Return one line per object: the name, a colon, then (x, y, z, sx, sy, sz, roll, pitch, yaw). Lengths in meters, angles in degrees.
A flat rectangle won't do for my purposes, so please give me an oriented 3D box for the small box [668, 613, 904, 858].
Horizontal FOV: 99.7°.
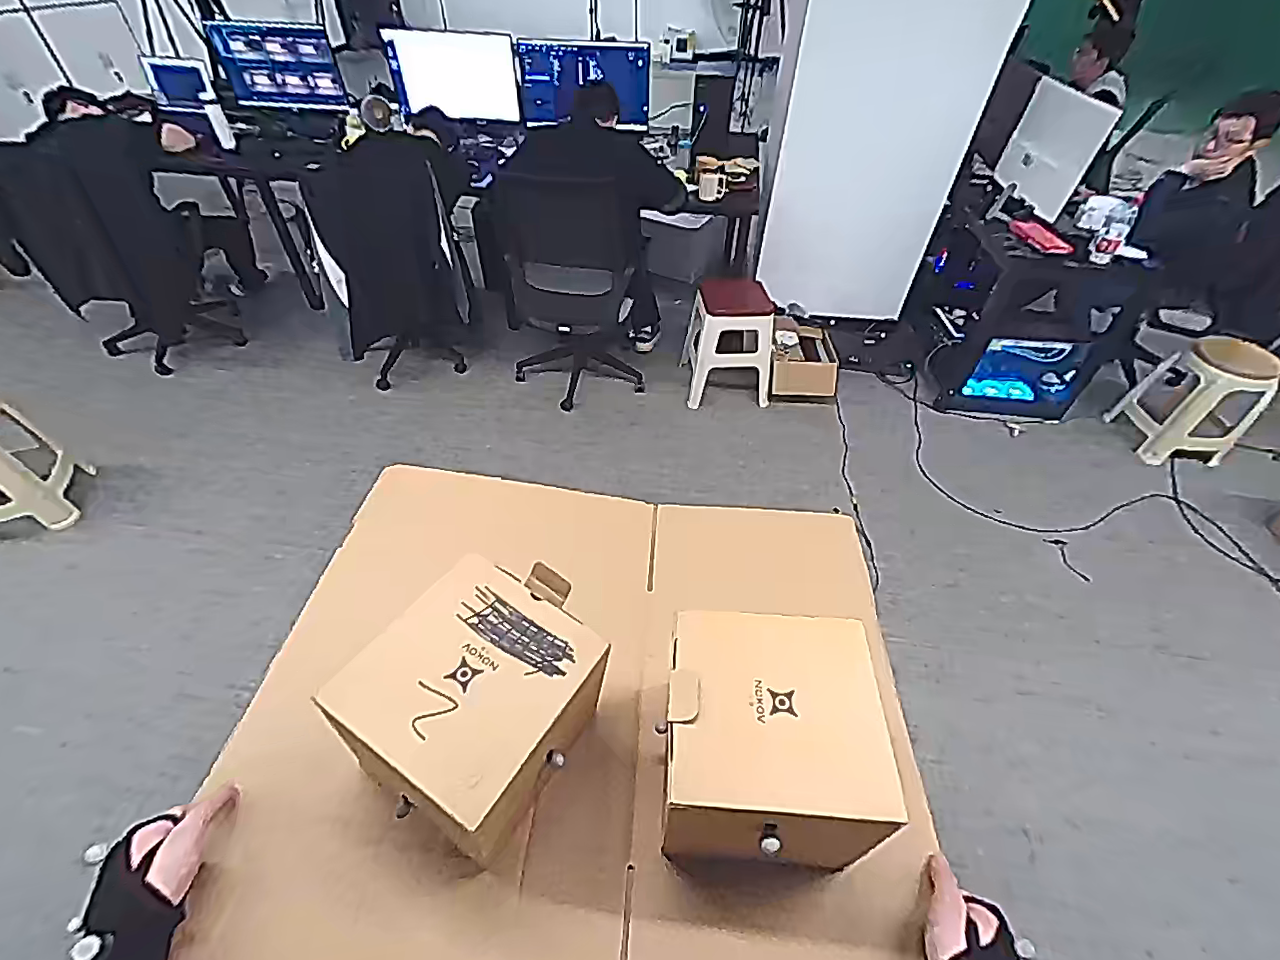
small box: (0.119, 0.247, 0.519, 0.179, 0.176, 0.168, 2, 46, 4)
